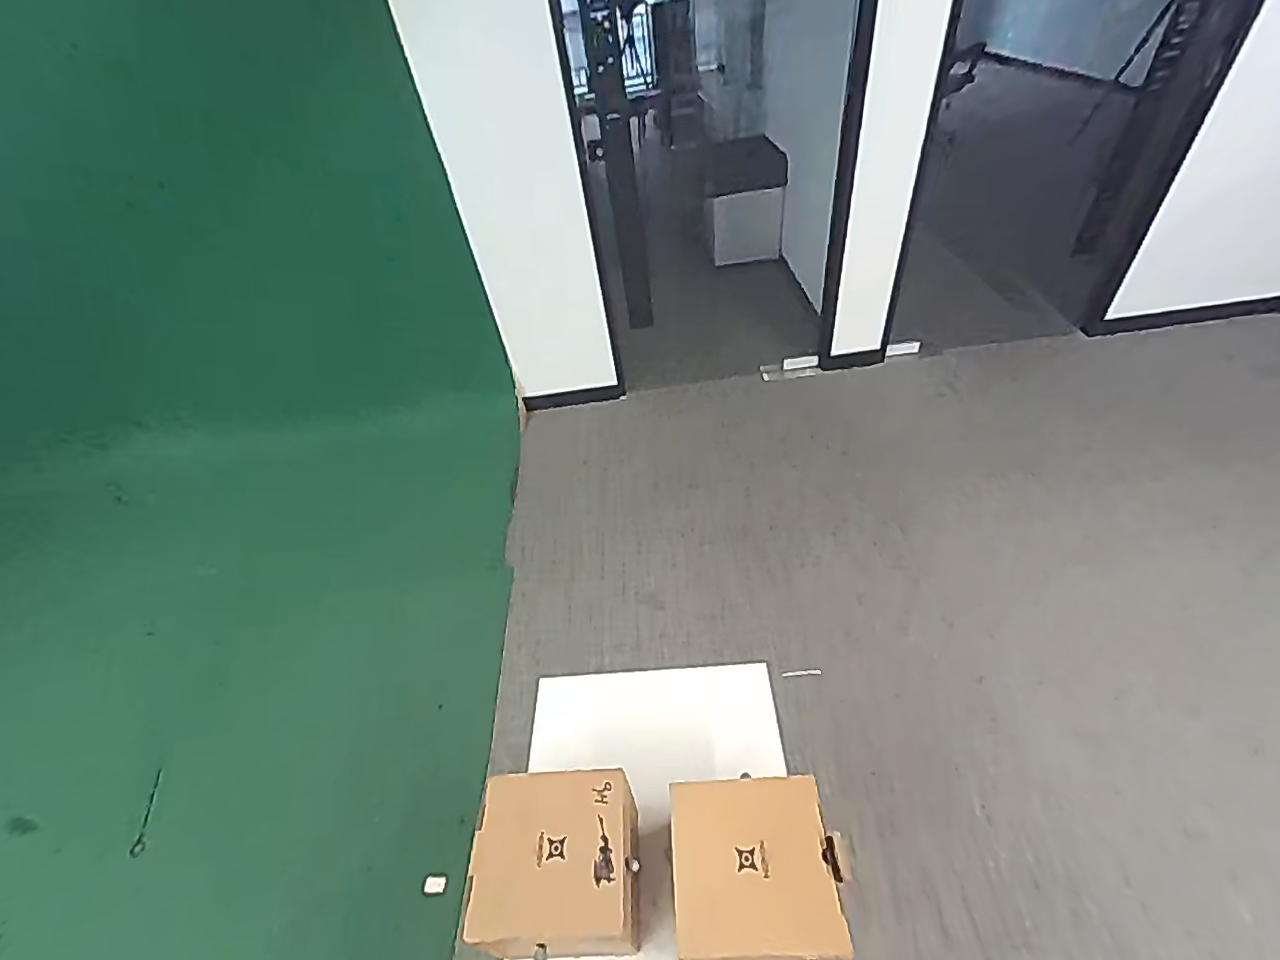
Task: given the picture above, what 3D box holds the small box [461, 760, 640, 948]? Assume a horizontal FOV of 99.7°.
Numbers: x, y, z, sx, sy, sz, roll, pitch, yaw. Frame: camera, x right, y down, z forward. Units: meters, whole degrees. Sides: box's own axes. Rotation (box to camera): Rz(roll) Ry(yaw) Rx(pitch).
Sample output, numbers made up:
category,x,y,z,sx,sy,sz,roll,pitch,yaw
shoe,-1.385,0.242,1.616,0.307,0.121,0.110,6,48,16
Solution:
category,x,y,z,sx,sy,sz,roll,pitch,yaw
small box,-0.098,0.475,0.684,0.179,0.176,0.168,-6,45,4
